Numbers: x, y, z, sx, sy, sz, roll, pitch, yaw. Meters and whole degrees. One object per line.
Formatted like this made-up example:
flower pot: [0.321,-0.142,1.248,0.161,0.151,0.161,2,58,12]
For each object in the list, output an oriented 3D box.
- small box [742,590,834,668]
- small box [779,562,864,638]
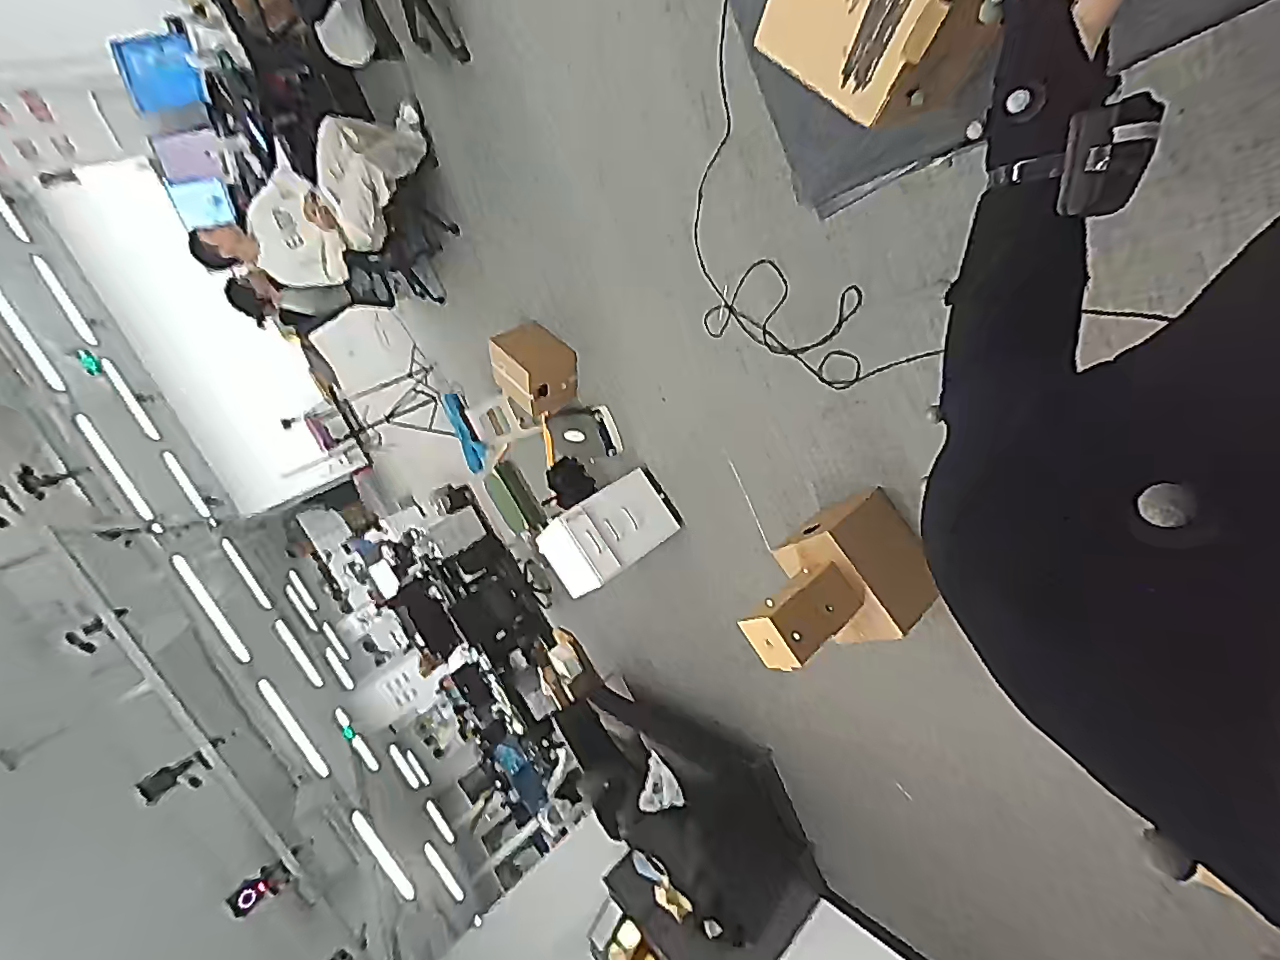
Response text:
small box: [0.461,0.458,1.680,0.179,0.176,0.168,56,149,3]
small box: [0.588,0.395,1.760,0.179,0.176,0.168,56,150,4]
